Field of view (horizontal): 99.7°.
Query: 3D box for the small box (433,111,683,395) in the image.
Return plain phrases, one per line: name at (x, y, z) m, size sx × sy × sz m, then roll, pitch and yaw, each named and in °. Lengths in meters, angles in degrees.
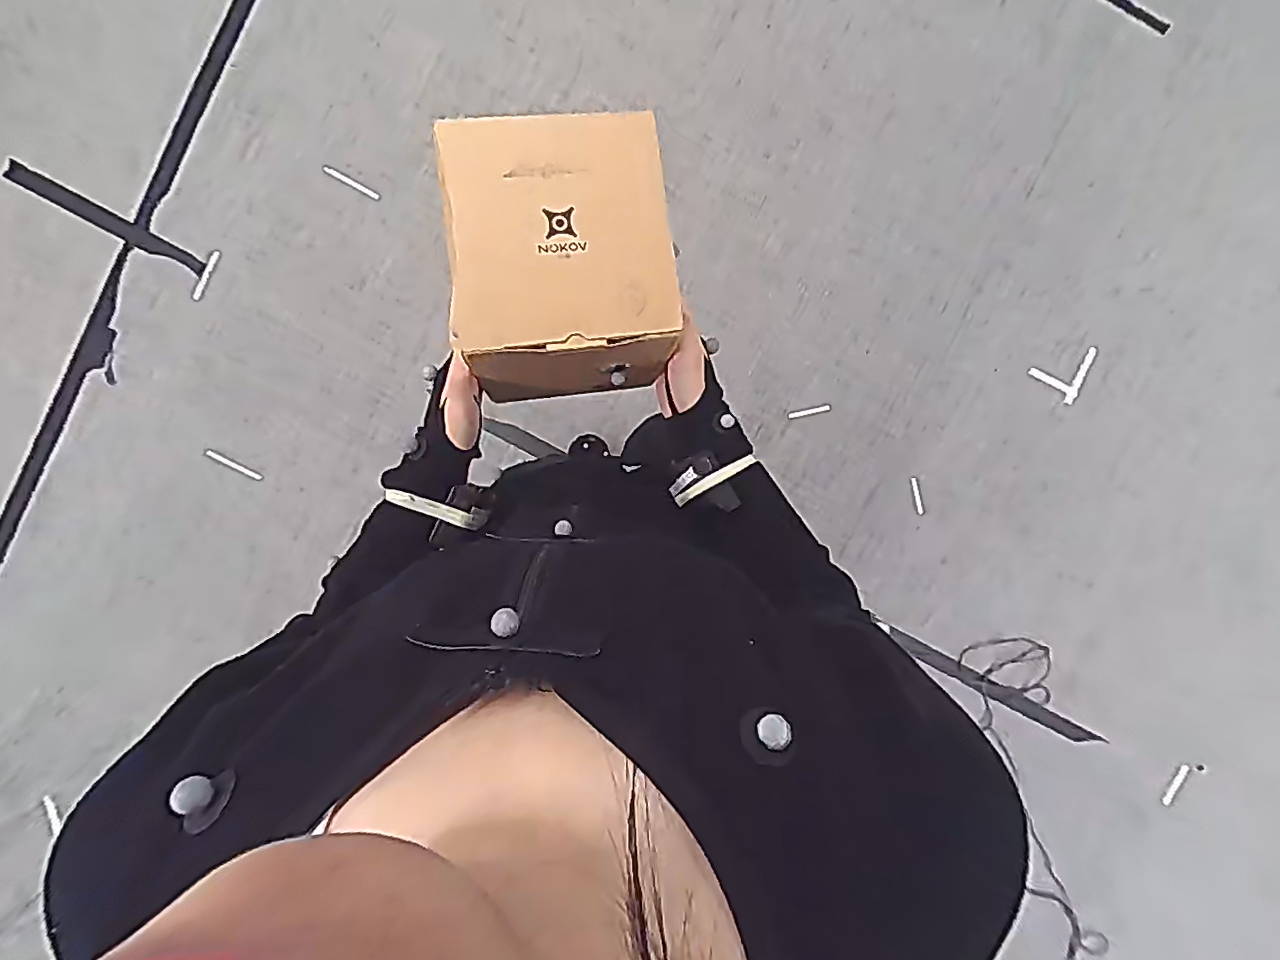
small box at (-0.068, -0.178, 0.473) m, size 0.168 × 0.176 × 0.179 m, roll -8°, pitch 86°, yaw -9°
